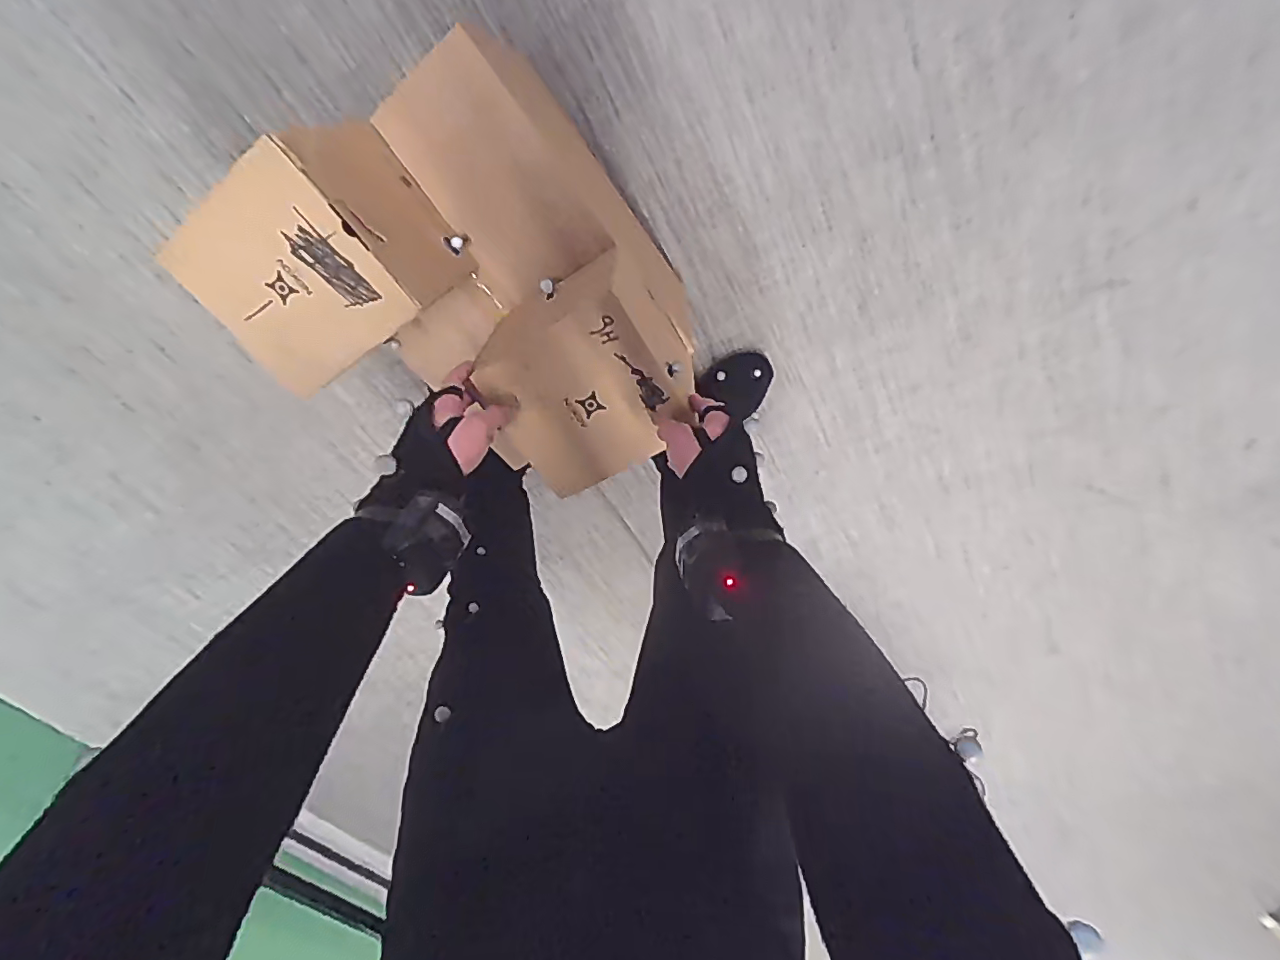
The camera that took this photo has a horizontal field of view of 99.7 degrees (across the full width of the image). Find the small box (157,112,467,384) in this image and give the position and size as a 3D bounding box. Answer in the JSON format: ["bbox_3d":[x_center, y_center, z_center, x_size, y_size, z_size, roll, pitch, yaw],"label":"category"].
[{"bbox_3d":[-0.296,-0.231,0.536,0.179,0.176,0.168,-26,118,20],"label":"small box"}]
